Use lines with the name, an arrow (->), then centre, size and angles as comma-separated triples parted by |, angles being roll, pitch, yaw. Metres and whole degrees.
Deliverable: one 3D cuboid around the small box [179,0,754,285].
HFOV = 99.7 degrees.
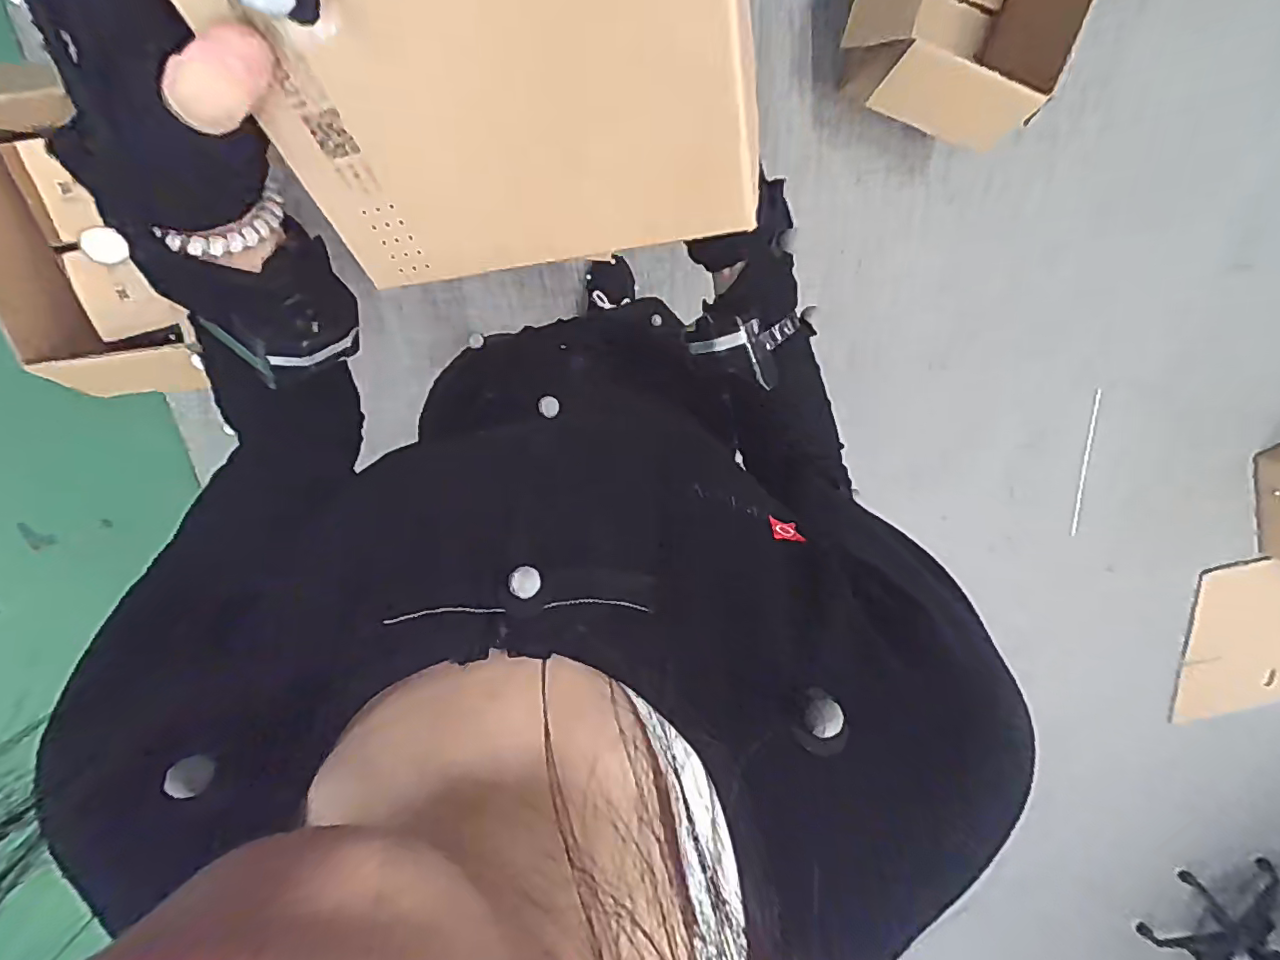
small box -> -0.049, -0.205, 0.214 | 0.176, 0.179, 0.168 | -4, 142, 16
